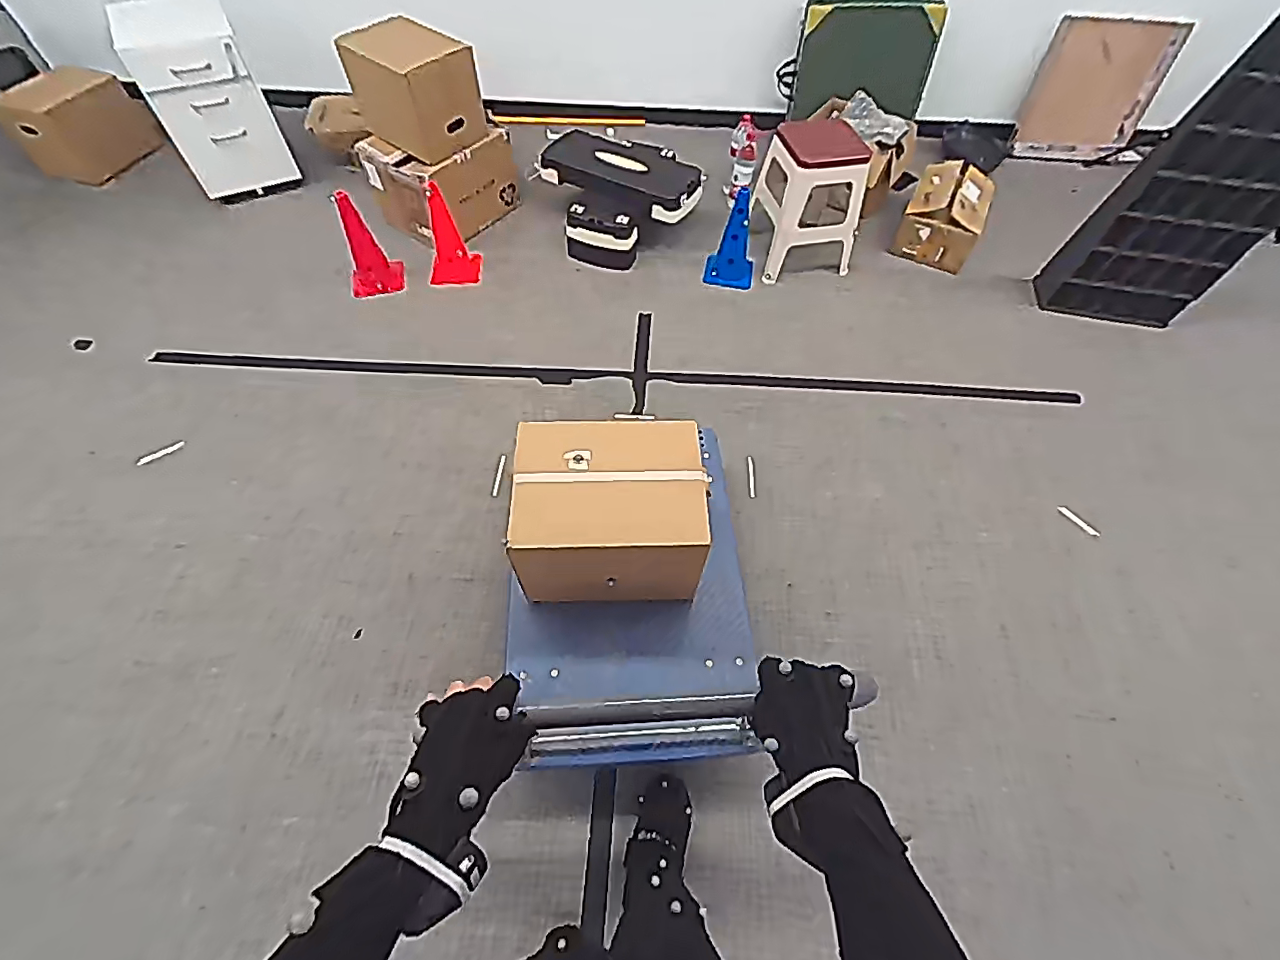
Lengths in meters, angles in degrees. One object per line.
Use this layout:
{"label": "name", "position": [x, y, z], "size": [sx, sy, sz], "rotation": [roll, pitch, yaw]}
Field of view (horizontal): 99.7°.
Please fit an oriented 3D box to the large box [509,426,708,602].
{"label": "large box", "position": [-0.068, 0.090, 1.278], "size": [0.408, 0.320, 0.320], "rotation": [-1, 58, -2]}
